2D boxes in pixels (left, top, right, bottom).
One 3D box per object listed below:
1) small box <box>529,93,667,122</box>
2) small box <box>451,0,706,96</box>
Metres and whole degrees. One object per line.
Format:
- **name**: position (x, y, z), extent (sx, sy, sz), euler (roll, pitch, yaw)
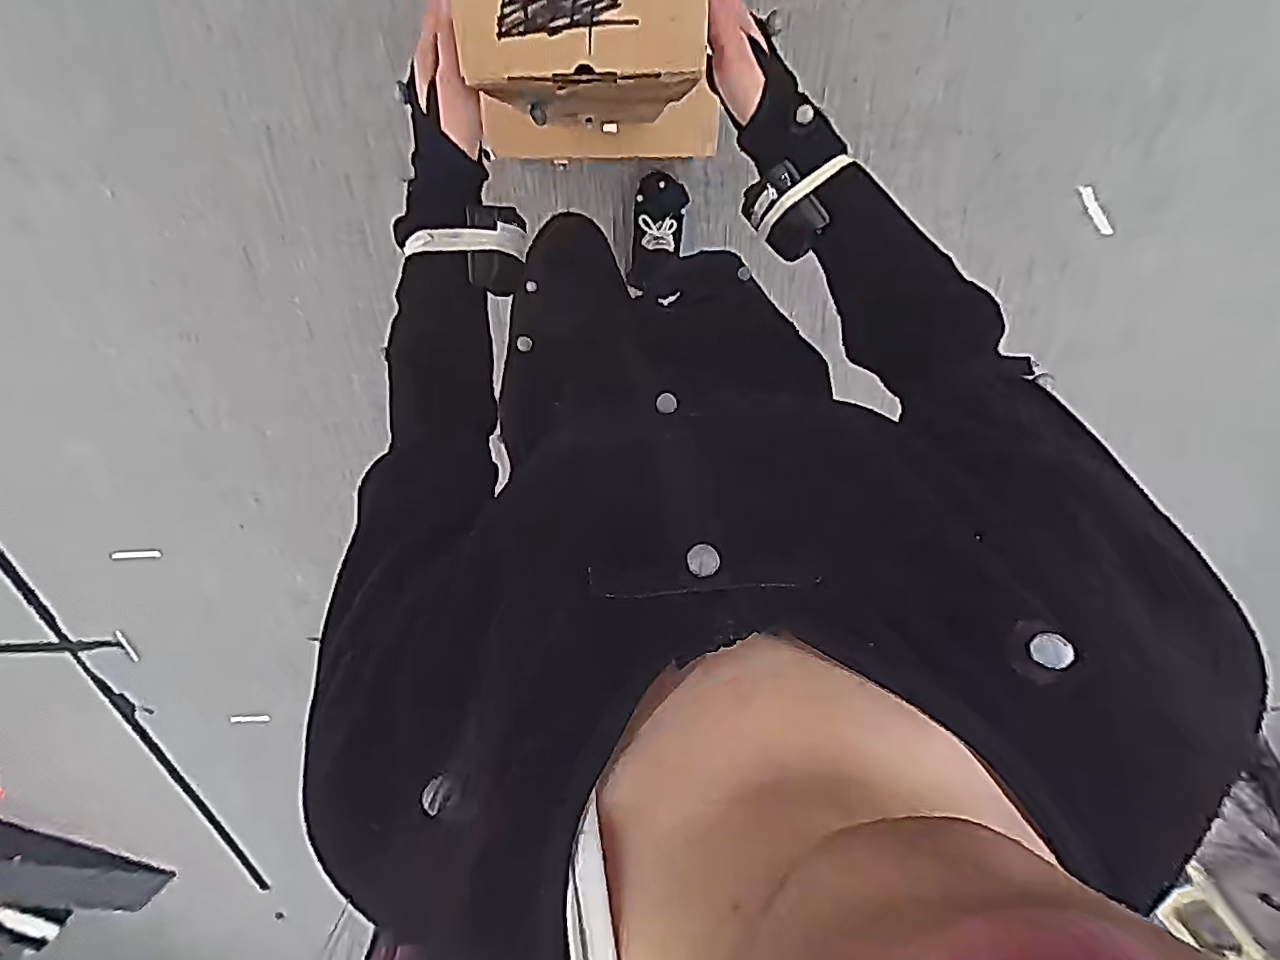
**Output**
- **small box**: position (-0.055, -0.555, 0.669), extent (0.168, 0.176, 0.179), euler (-3, 121, -1)
- **small box**: position (-0.041, -0.387, 0.387), extent (0.168, 0.176, 0.179), euler (-3, 120, -1)
